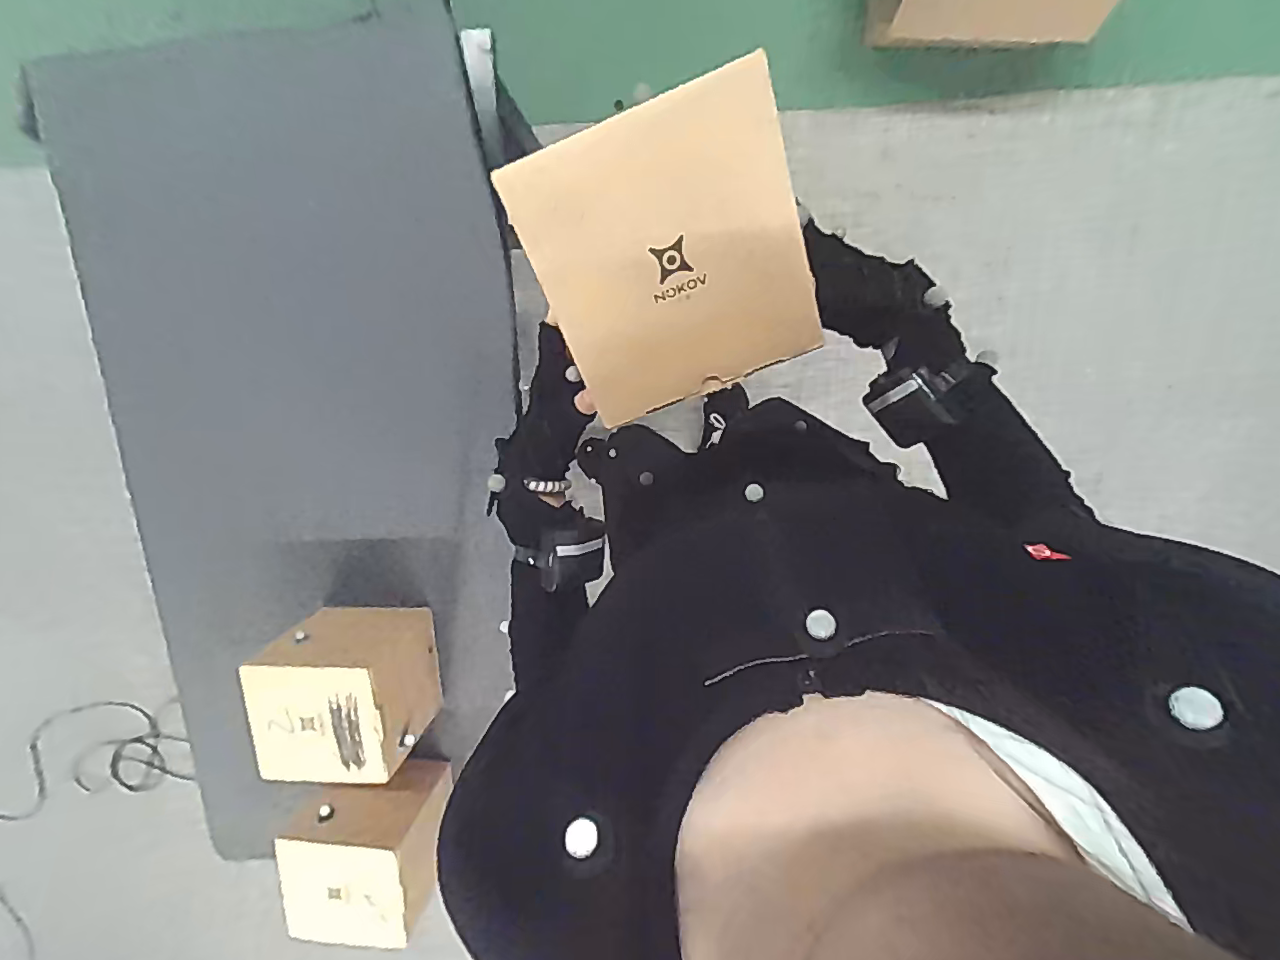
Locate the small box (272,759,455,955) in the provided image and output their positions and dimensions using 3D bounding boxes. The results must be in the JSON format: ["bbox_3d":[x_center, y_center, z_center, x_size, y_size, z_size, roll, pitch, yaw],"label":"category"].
[{"bbox_3d":[-0.397,0.545,0.804,0.179,0.176,0.168,2,102,5],"label":"small box"}]

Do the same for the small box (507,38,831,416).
[{"bbox_3d":[0.020,-0.179,0.406,0.168,0.176,0.179,-20,120,6],"label":"small box"}]
